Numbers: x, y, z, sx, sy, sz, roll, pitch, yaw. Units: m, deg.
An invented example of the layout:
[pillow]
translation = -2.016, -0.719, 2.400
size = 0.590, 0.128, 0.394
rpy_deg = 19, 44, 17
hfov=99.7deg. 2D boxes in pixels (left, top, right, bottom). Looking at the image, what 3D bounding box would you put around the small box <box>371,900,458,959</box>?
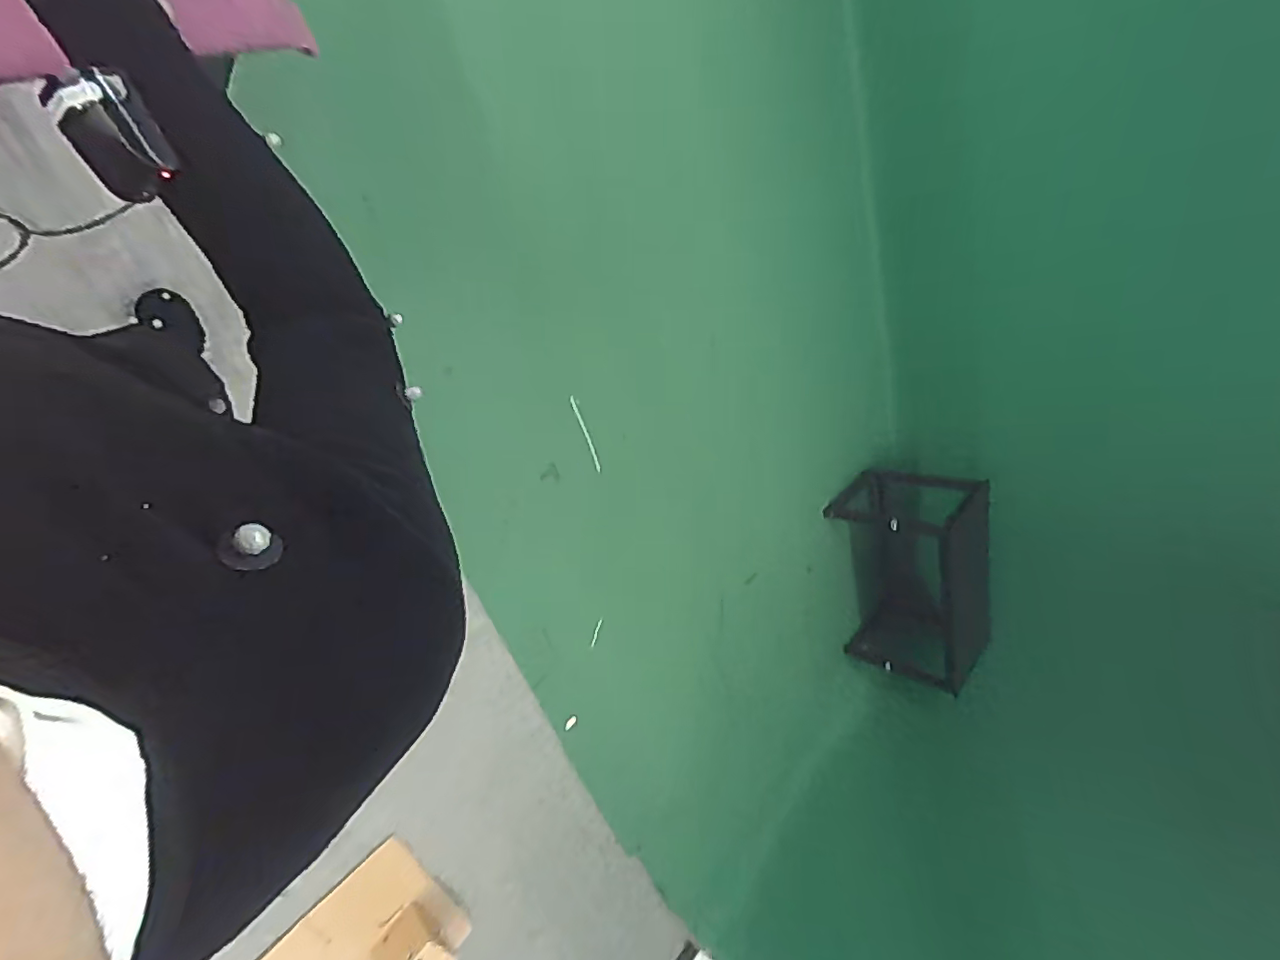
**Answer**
[small box]
translation = -0.738, 1.530, 1.767
size = 0.168, 0.176, 0.179
rpy_deg = -44, 125, -27
